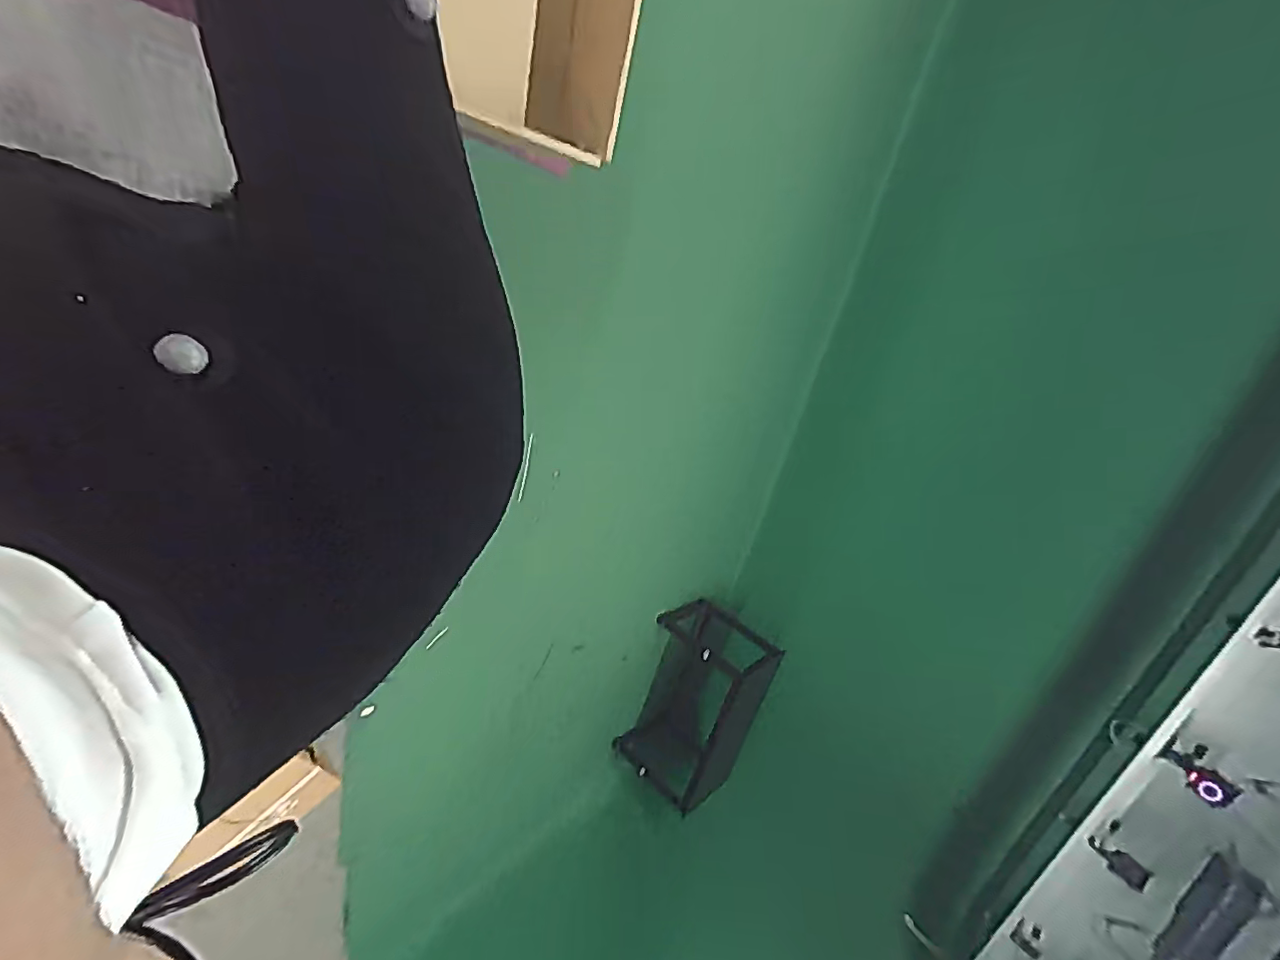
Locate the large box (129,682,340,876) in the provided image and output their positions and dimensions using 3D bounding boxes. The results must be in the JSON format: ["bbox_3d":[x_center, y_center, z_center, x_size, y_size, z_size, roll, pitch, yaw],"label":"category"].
[{"bbox_3d":[-1.289,0.952,1.742,0.408,0.320,0.320,-42,143,-27],"label":"large box"}]
